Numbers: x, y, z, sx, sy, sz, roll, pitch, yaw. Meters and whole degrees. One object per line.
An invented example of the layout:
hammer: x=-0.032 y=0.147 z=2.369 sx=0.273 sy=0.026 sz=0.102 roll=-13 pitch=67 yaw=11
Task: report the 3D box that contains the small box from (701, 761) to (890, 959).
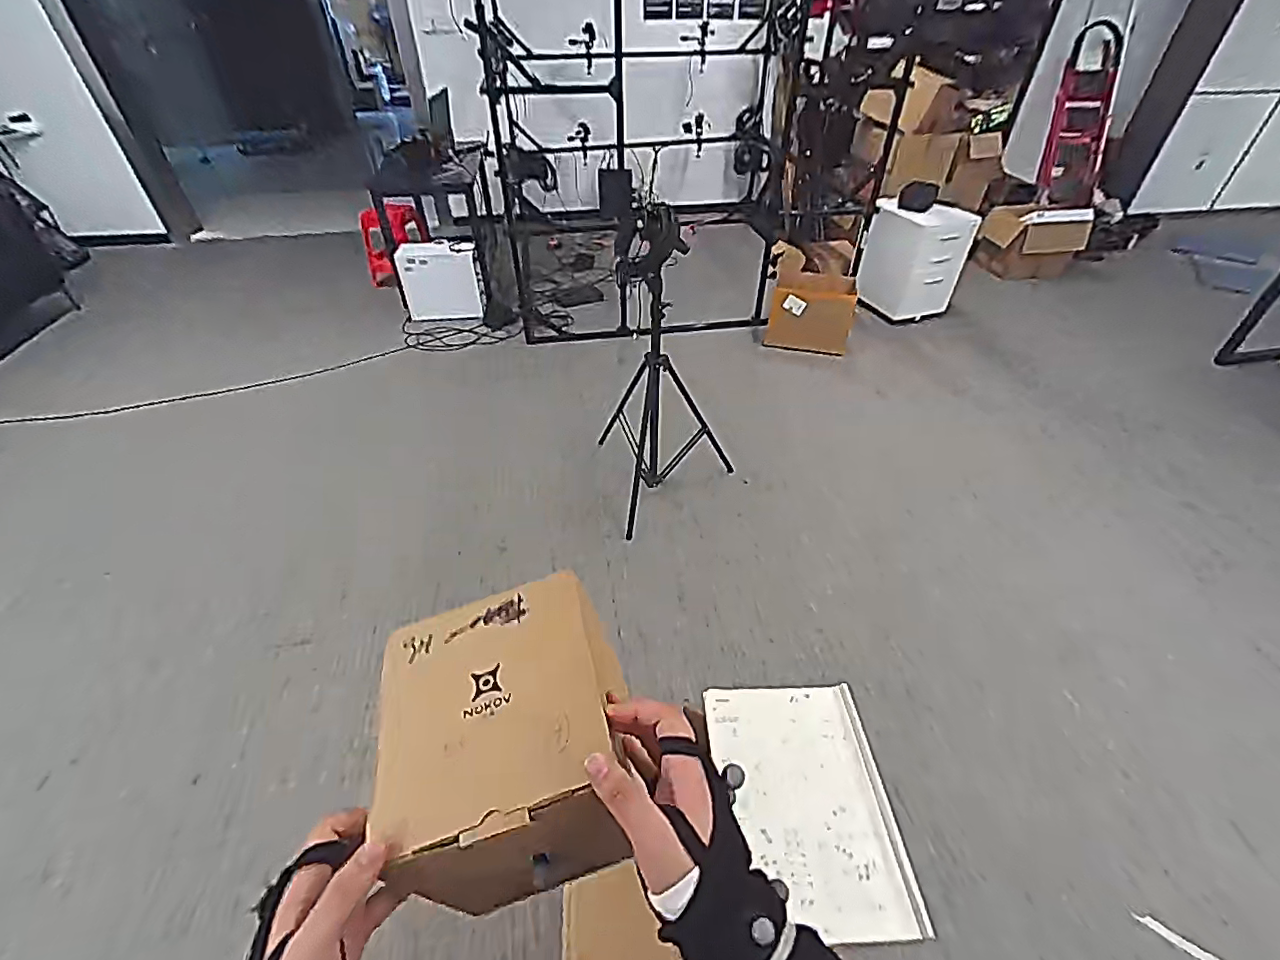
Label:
small box: x=0.175 y=0.476 z=0.677 sx=0.168 sy=0.176 sz=0.179 roll=0 pitch=43 yaw=-4
